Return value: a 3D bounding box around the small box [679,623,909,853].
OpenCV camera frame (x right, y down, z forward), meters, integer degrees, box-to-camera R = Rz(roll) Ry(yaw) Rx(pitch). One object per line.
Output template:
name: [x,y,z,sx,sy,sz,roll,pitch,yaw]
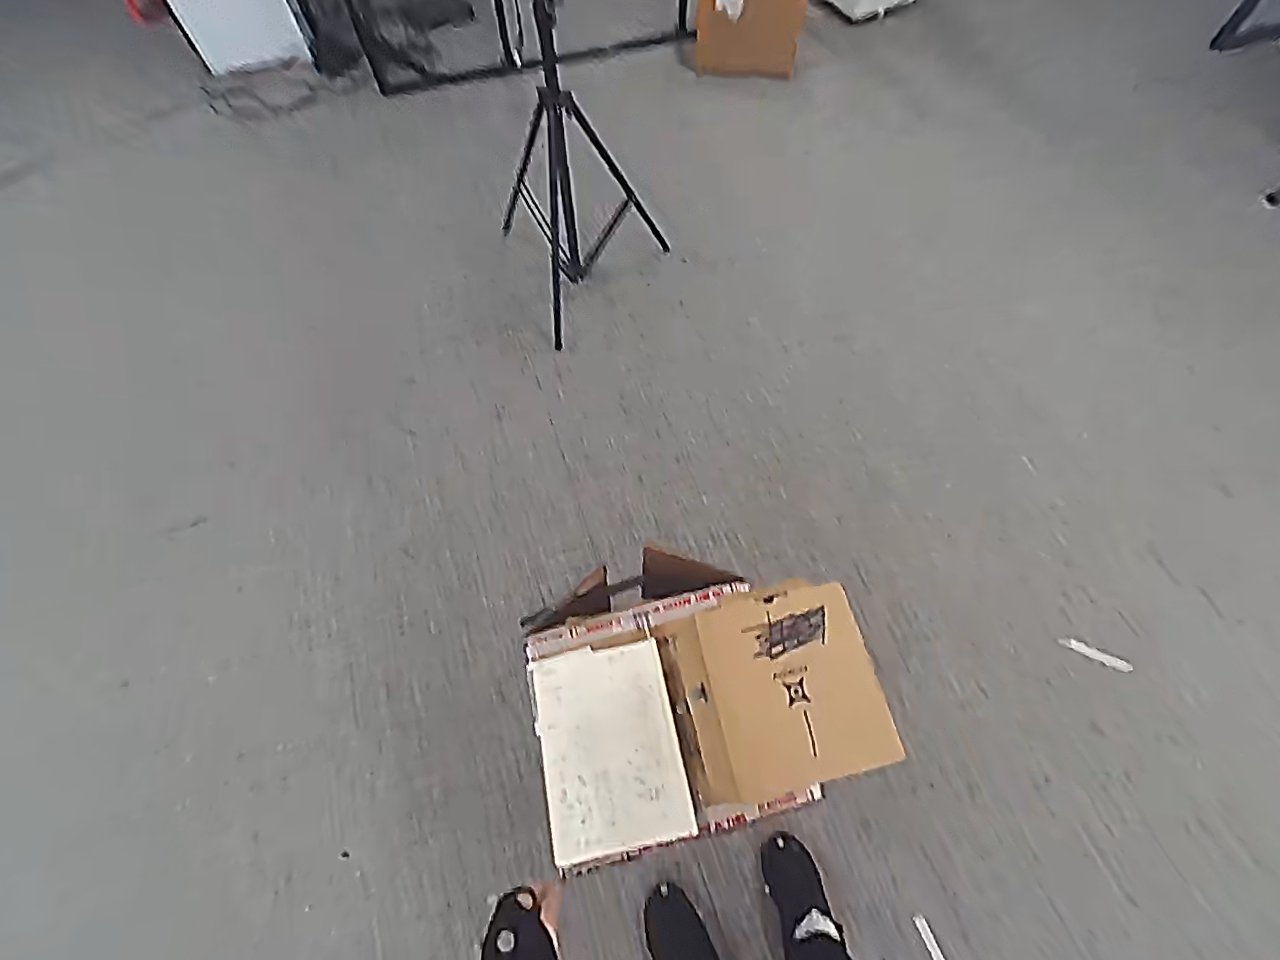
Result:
small box: [0.146,0.273,0.588,0.168,0.176,0.179,-10,65,-8]
